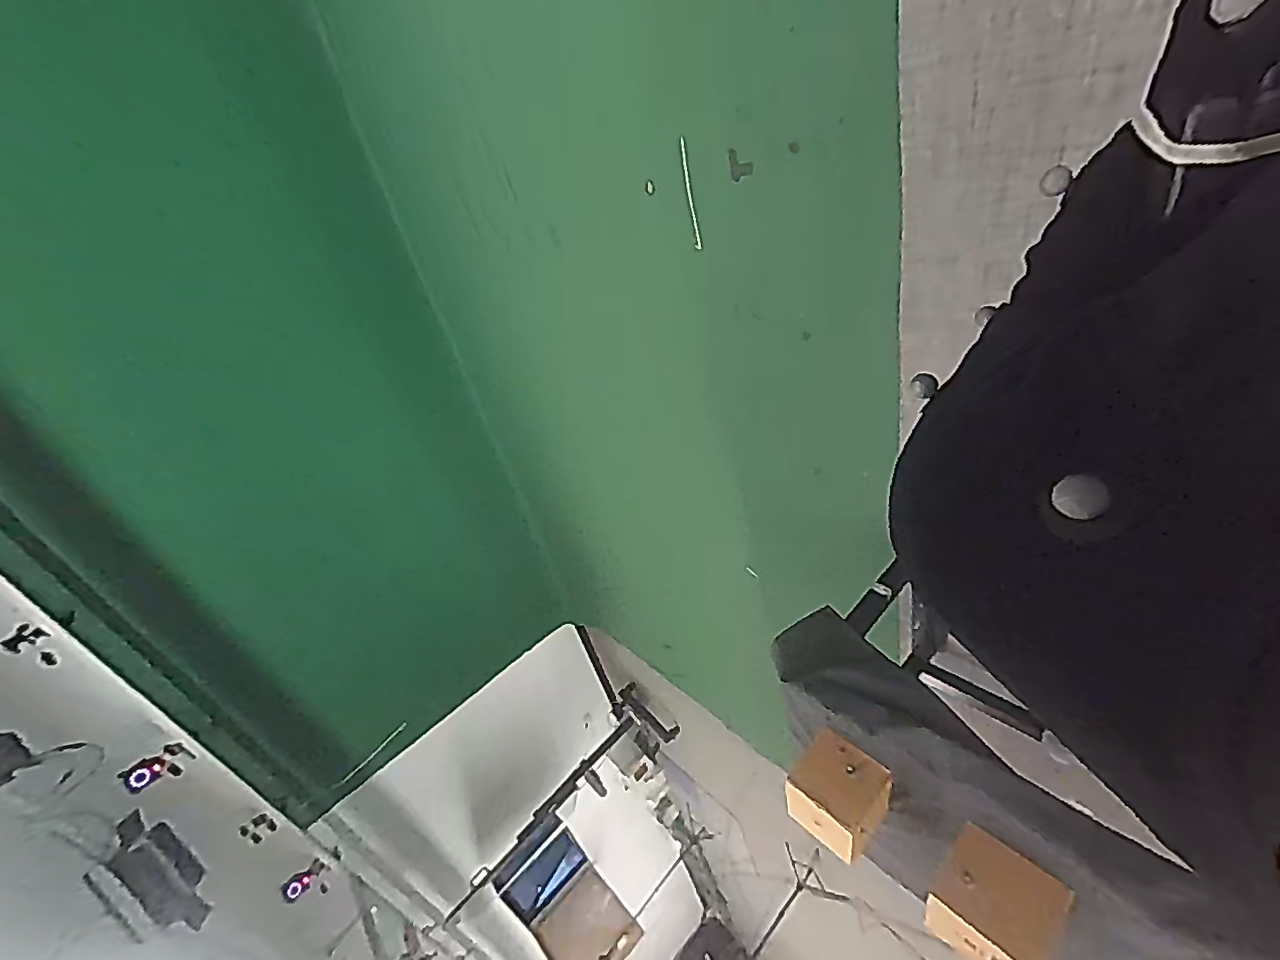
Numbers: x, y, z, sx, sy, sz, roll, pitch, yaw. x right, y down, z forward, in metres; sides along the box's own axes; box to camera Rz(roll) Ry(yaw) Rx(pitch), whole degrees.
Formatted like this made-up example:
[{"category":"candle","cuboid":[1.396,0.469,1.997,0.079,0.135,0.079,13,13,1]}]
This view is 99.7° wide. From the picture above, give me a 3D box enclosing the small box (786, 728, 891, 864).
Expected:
[{"category":"small box","cuboid":[0.454,0.716,1.239,0.168,0.176,0.179,26,140,42]}]
